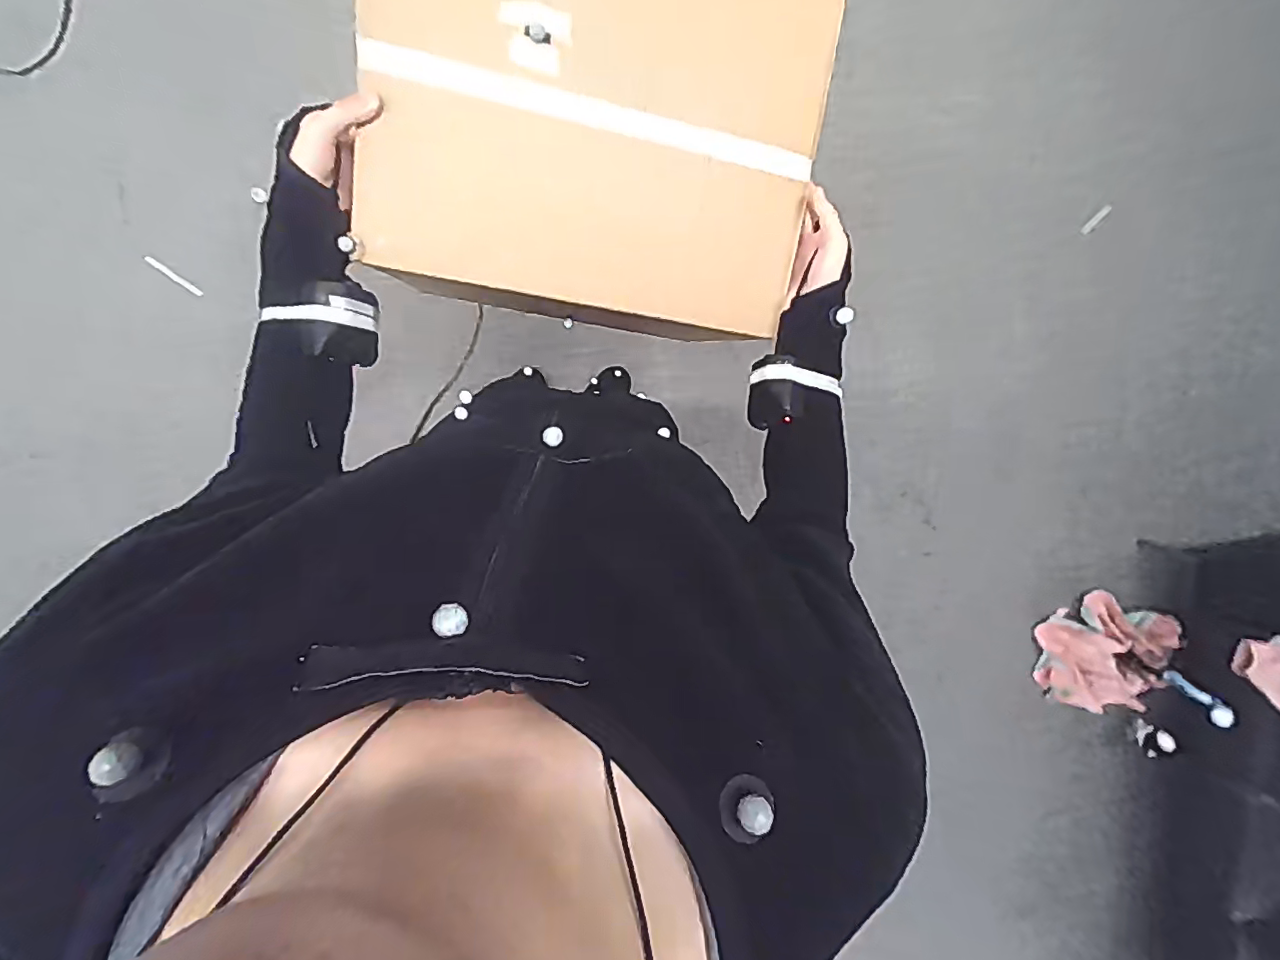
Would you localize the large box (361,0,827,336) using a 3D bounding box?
[{"bbox_3d":[-0.062,-0.351,0.635,0.408,0.320,0.320,6,101,-12],"label":"large box"}]
